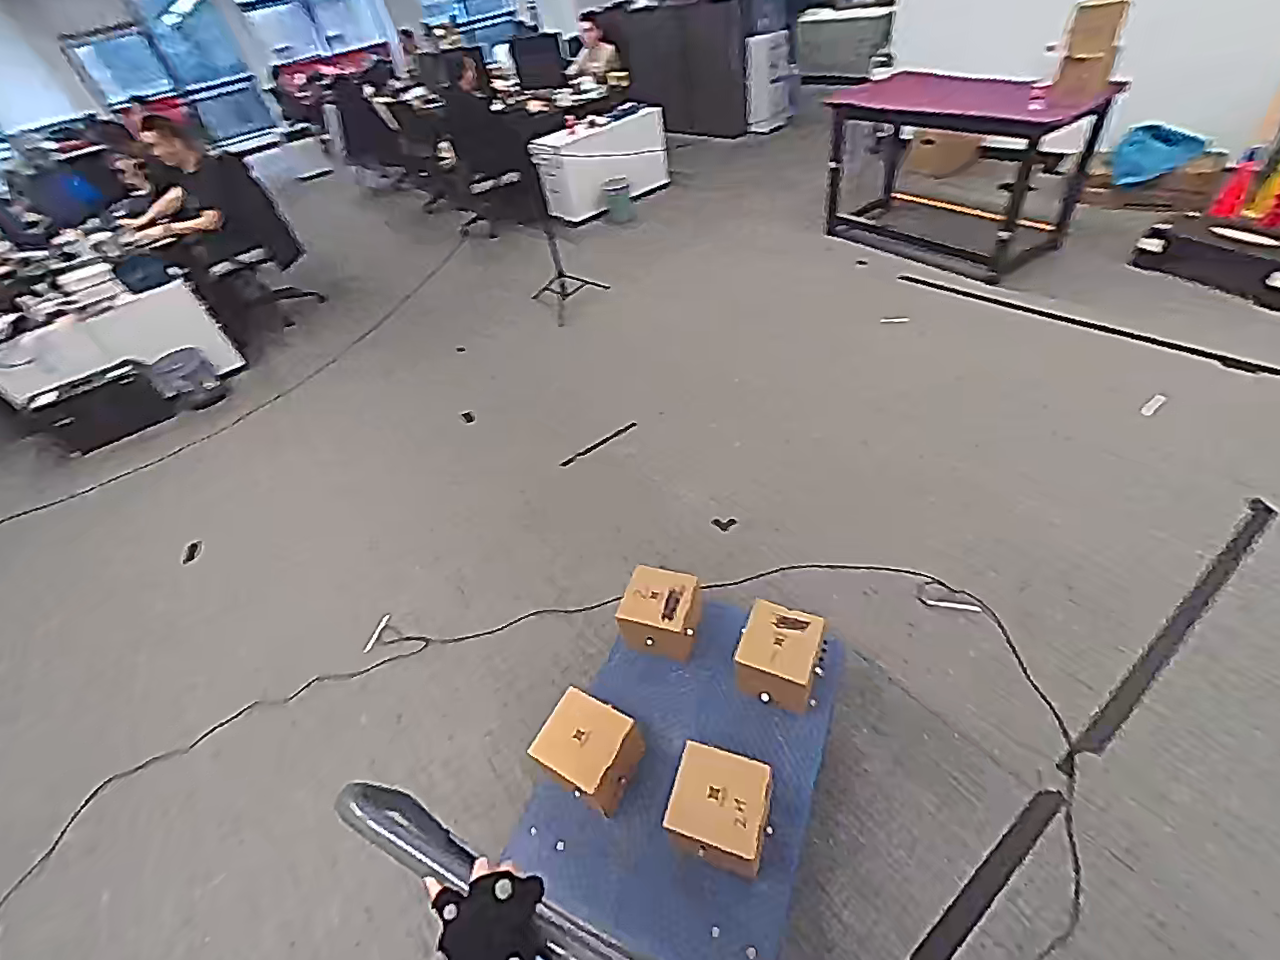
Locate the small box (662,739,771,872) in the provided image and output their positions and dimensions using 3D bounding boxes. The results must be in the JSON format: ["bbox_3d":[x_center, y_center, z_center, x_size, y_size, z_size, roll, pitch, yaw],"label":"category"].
[{"bbox_3d":[0.162,0.658,1.092,0.179,0.176,0.168,8,48,21],"label":"small box"}]

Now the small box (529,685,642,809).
[{"bbox_3d":[-0.114,0.602,1.215,0.179,0.176,0.168,17,51,26],"label":"small box"}]

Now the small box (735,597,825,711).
[{"bbox_3d":[0.335,0.418,1.298,0.168,0.176,0.179,13,51,25],"label":"small box"}]
